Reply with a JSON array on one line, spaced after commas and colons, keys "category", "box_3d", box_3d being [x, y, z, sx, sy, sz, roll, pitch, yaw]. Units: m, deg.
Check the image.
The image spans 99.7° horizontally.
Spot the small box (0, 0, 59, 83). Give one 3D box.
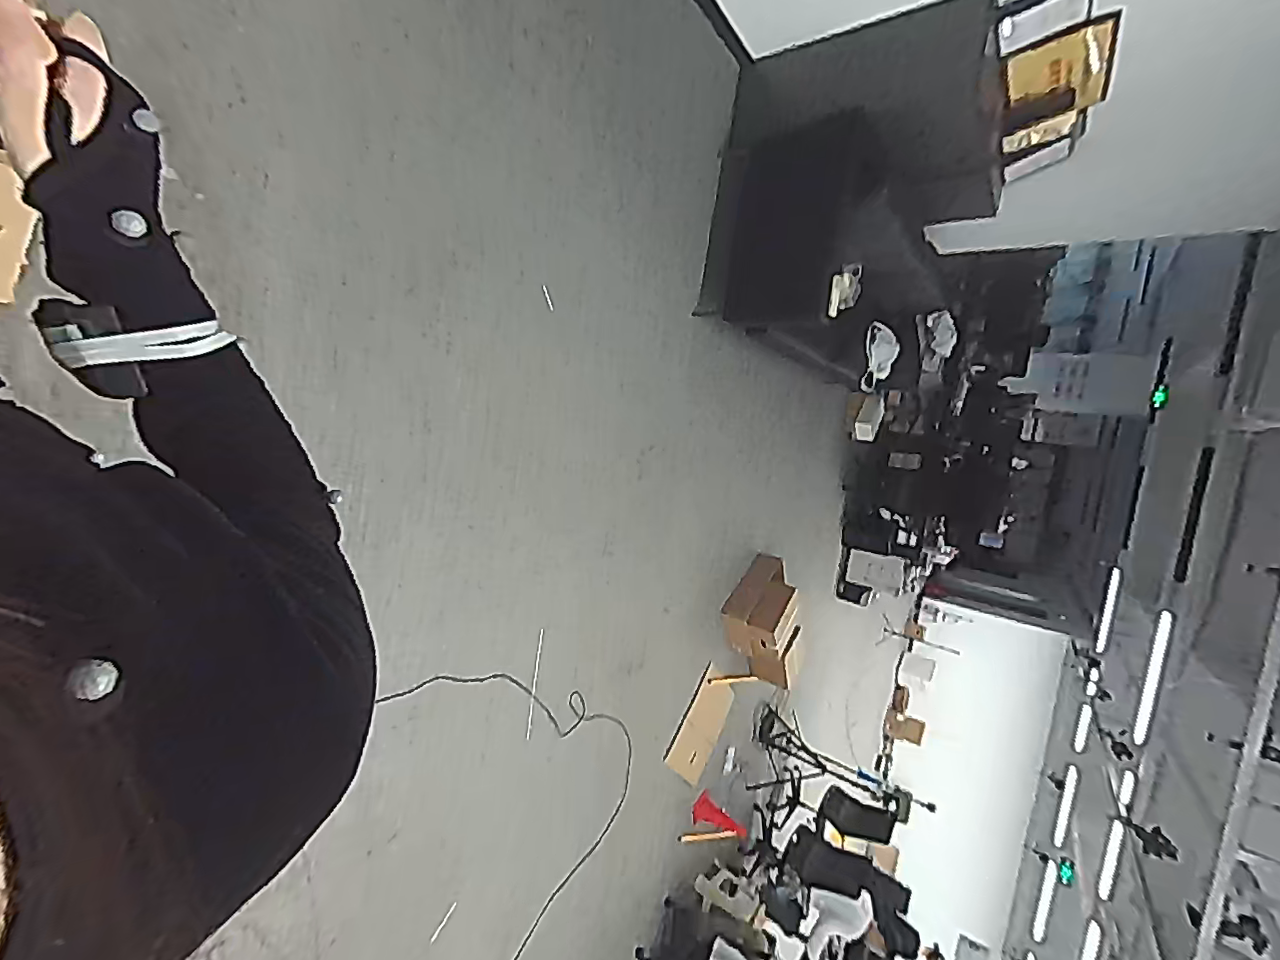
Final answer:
[{"category": "small box", "box_3d": [-0.460, -0.265, 0.250, 0.179, 0.176, 0.168, -52, 145, -32]}]
